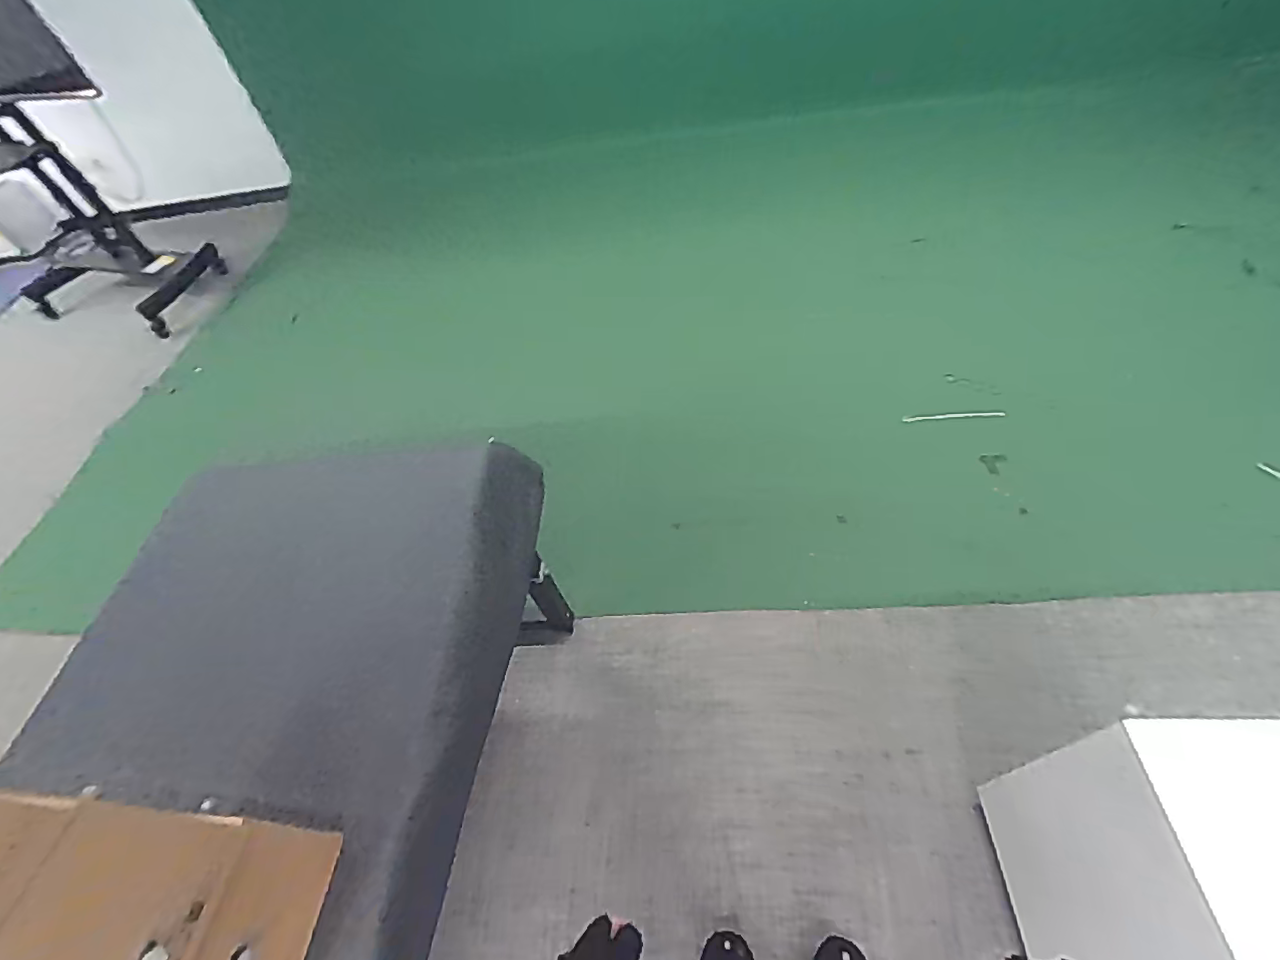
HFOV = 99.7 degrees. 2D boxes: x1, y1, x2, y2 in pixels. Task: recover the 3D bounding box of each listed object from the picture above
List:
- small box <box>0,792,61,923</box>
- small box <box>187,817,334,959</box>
[{"bbox_3d":[-0.488,0.237,0.271,0.179,0.176,0.168,1,54,10],"label":"small box"},{"bbox_3d":[-0.442,0.433,0.527,0.168,0.176,0.179,-3,53,9],"label":"small box"}]
